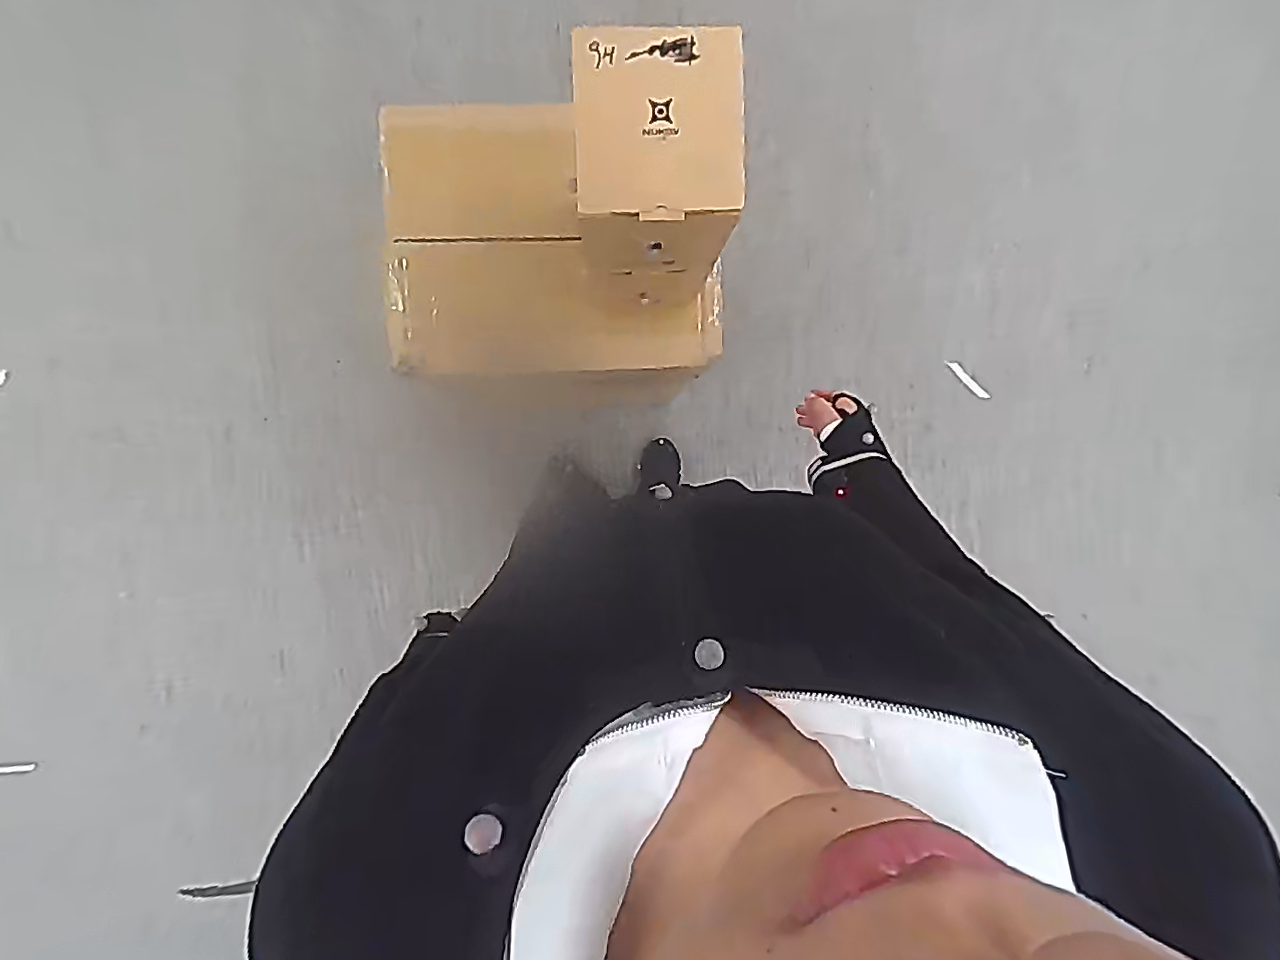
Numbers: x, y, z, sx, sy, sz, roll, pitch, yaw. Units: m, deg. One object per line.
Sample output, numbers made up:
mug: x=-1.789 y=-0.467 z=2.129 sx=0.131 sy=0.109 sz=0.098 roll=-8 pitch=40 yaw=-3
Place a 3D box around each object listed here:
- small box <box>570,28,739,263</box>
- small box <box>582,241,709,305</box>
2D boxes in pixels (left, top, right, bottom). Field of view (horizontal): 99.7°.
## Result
small box: x=0.013 y=-0.352 z=0.604 sx=0.168 sy=0.176 sz=0.179 roll=-2 pitch=95 yaw=-2
small box: x=0.002 y=-0.360 z=0.768 sx=0.168 sy=0.176 sz=0.179 roll=-3 pitch=94 yaw=-2
